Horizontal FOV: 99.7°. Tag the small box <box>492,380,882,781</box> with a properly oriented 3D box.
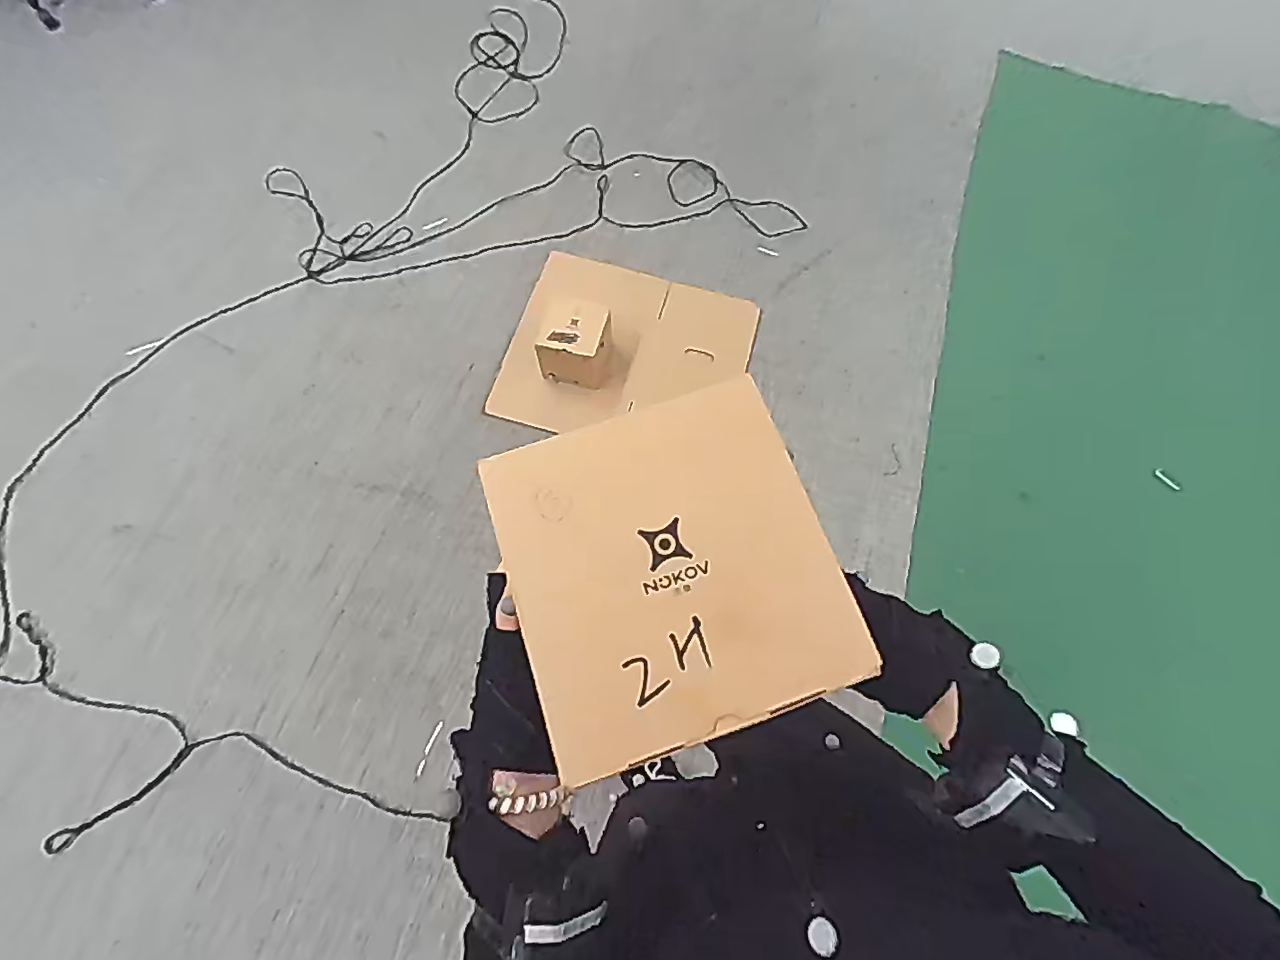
[{"bbox_3d":[0.019,0.065,0.362,0.168,0.176,0.179,-18,74,-5],"label":"small box"}]

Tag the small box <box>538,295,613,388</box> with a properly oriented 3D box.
[{"bbox_3d":[-0.174,-0.383,1.523,0.168,0.176,0.179,14,69,3],"label":"small box"}]
